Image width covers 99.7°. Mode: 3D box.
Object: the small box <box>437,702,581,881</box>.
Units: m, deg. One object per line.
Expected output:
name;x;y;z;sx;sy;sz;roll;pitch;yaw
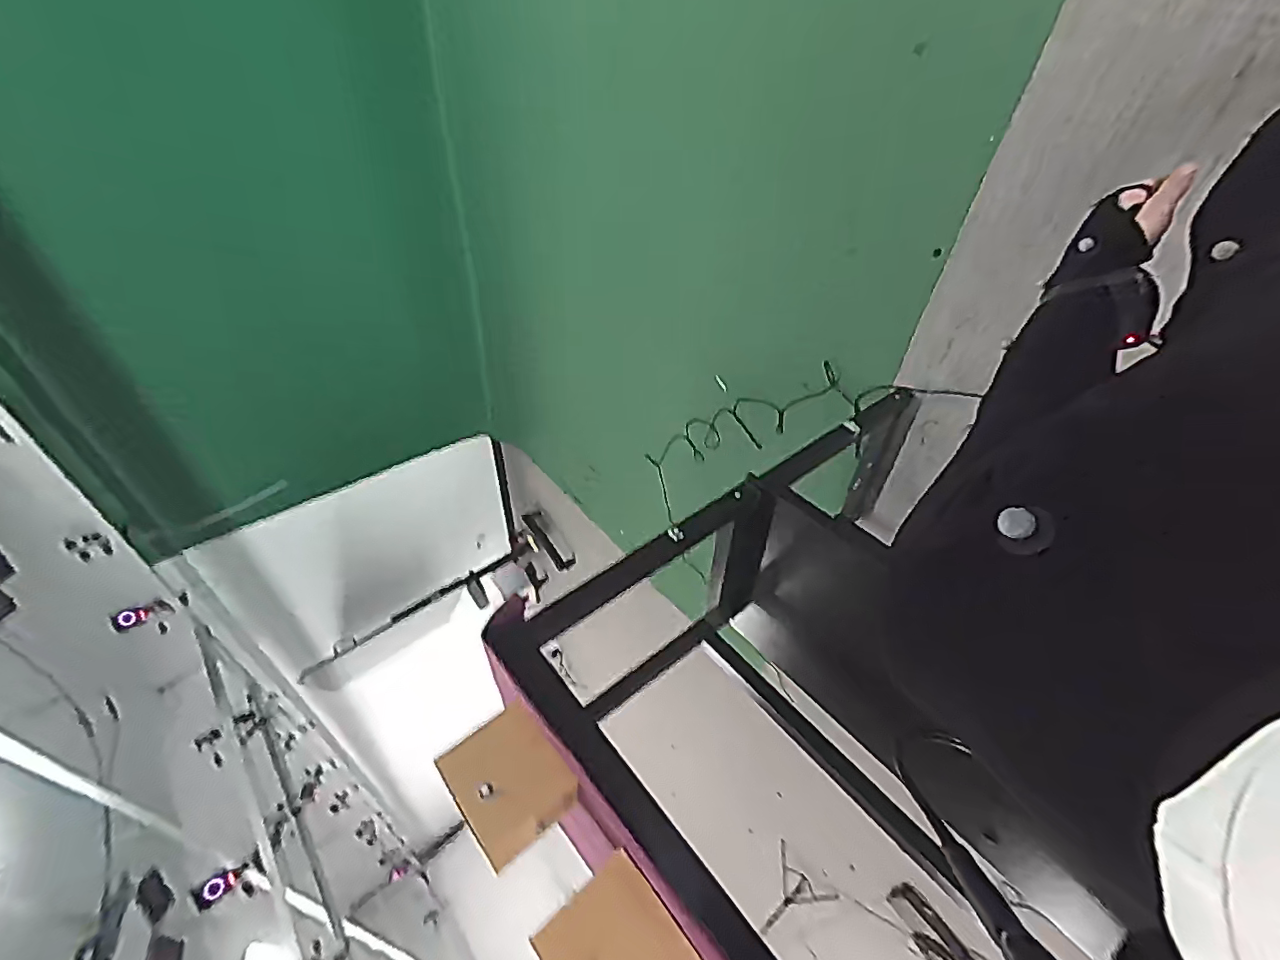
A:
small box;-0.212;0.517;0.910;0.179;0.176;0.168;42;143;30

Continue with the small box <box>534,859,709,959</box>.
small box;-0.025;0.675;0.759;0.179;0.176;0.168;39;144;32
